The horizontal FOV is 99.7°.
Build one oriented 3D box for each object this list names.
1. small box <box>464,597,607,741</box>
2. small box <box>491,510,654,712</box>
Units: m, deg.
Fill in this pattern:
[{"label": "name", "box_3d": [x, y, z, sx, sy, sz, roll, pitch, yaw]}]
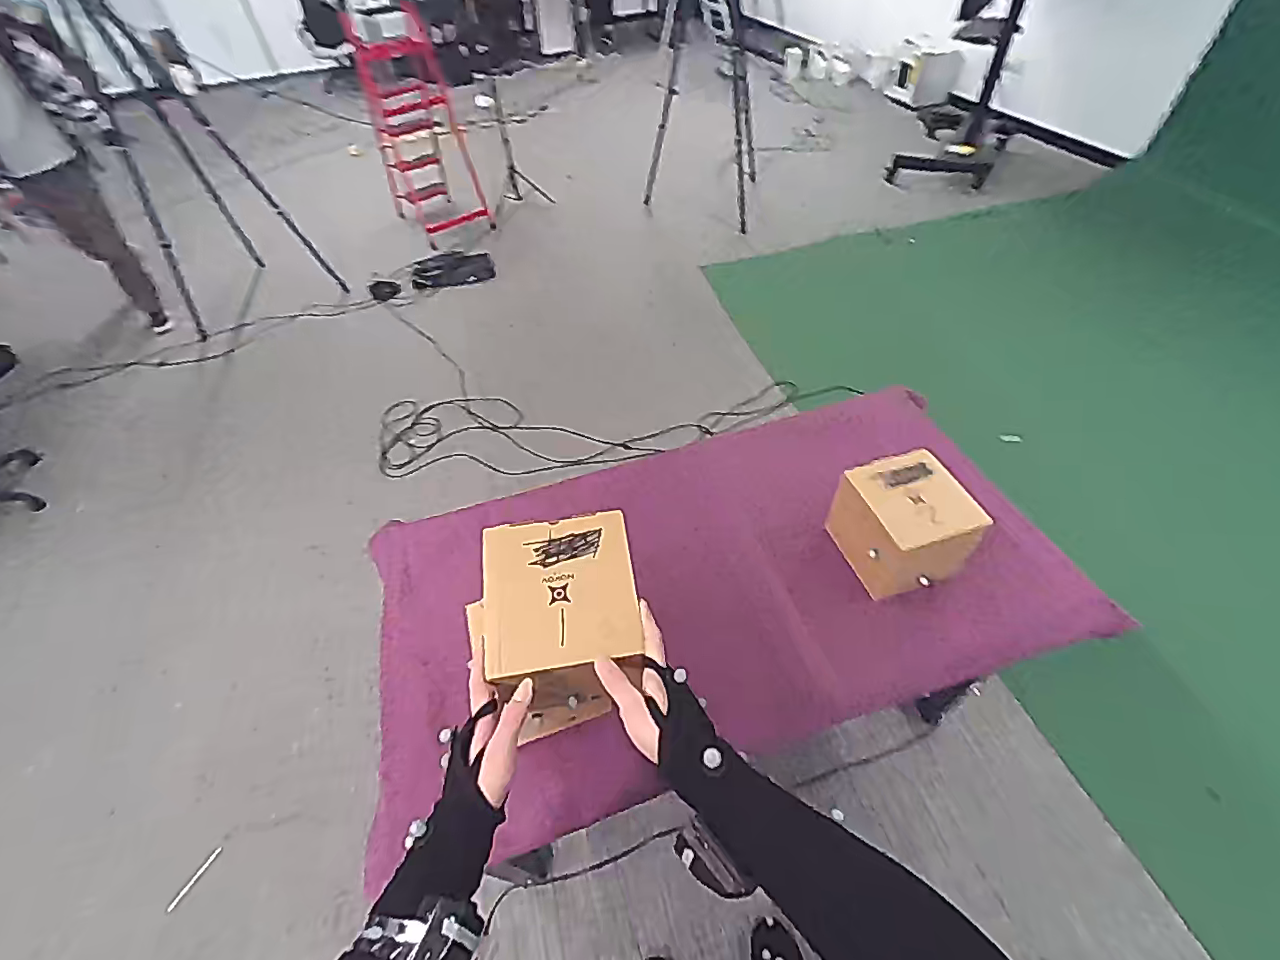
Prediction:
[{"label": "small box", "box_3d": [-0.157, 0.280, 0.837, 0.168, 0.176, 0.179, -17, 49, -11]}, {"label": "small box", "box_3d": [-0.080, 0.160, 0.650, 0.168, 0.176, 0.179, -7, 56, -6]}]
